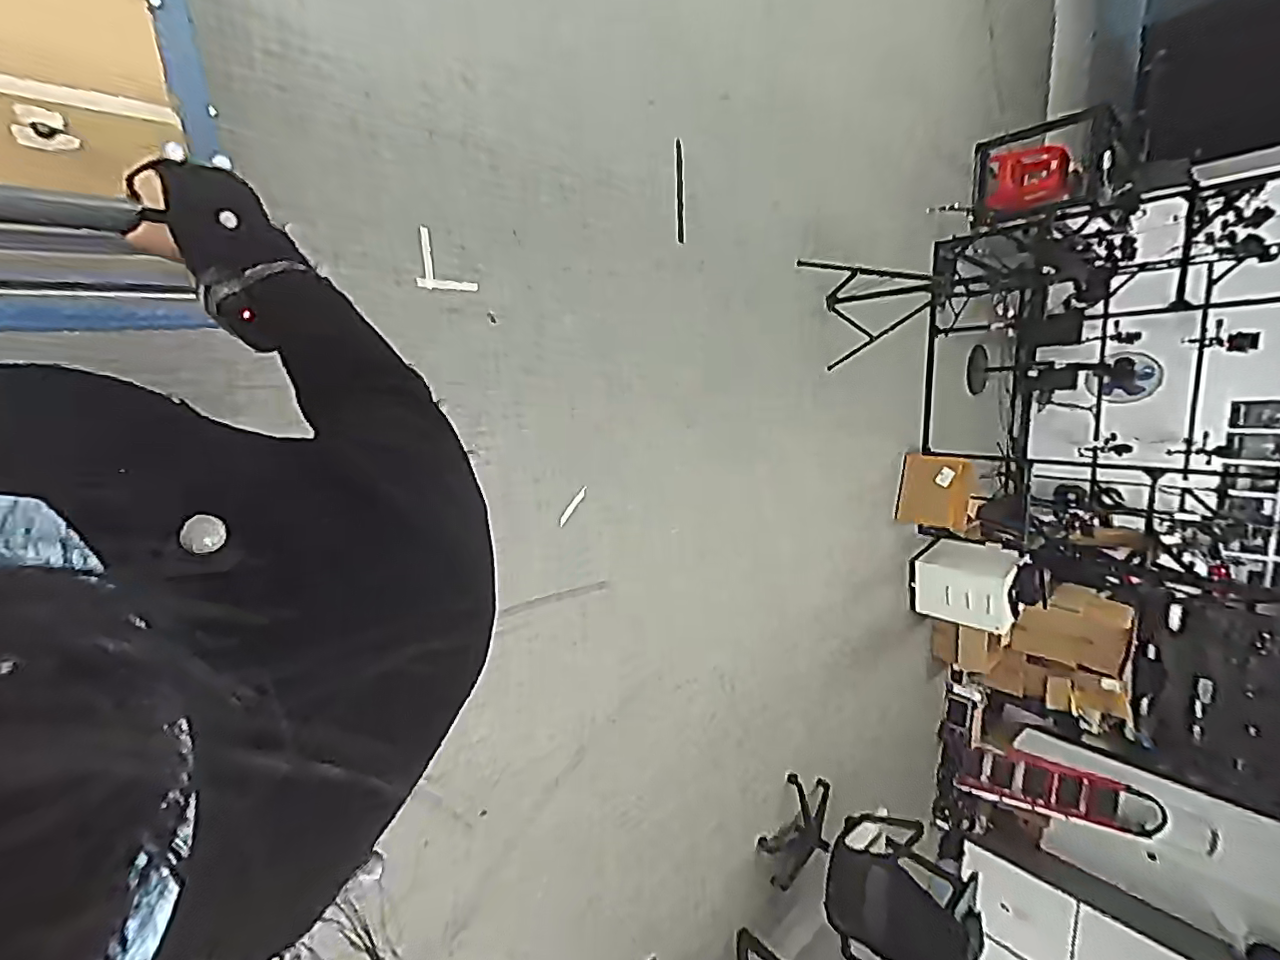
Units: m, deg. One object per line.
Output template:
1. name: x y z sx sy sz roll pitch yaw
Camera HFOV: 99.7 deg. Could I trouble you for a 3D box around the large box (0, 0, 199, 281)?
1. large box: -0.896 -0.463 0.730 0.408 0.320 0.320 -14 106 -42
